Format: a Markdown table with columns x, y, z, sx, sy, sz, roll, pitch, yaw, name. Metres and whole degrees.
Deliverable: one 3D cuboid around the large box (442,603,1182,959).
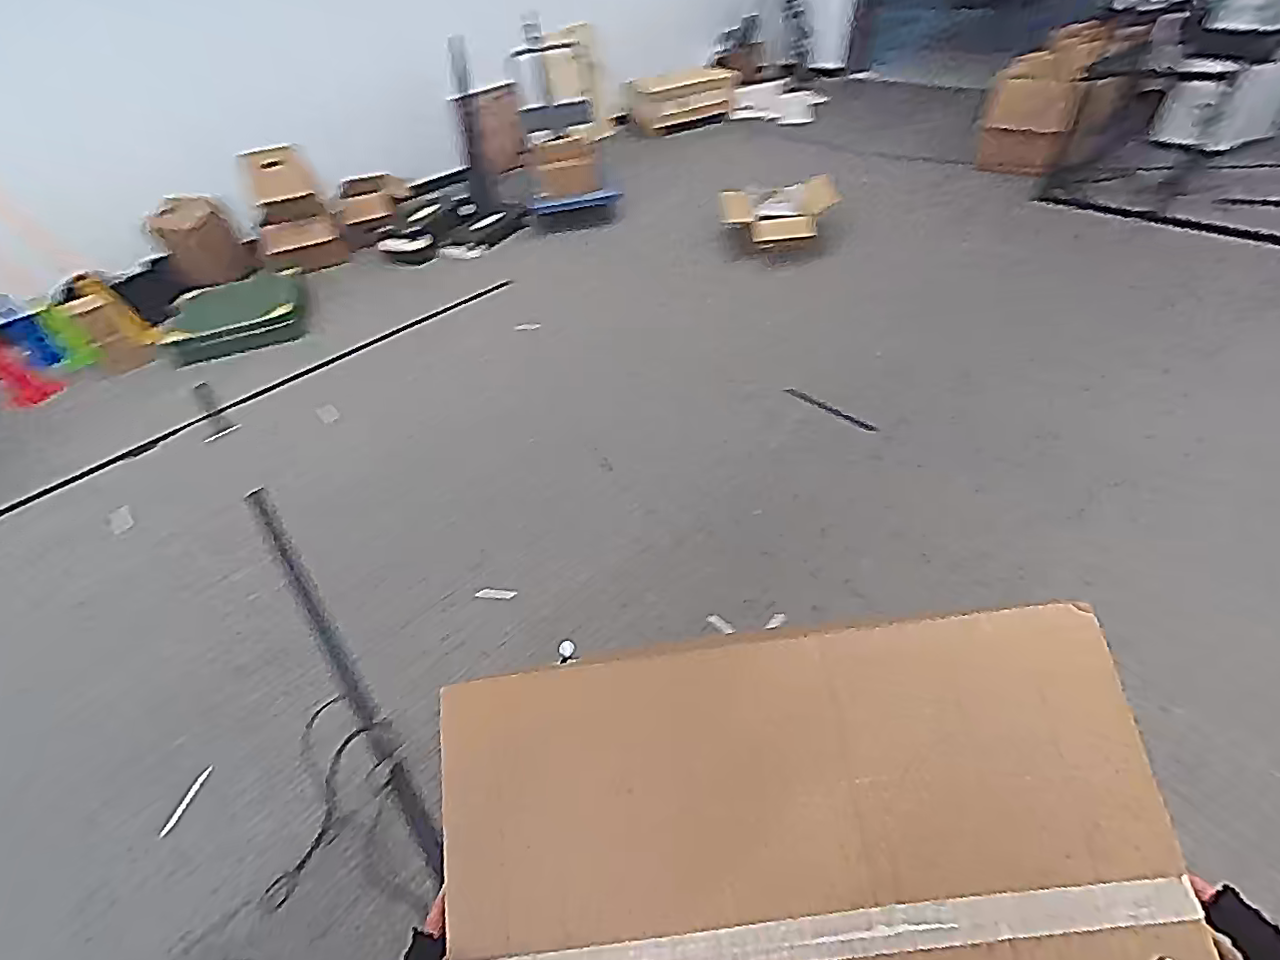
| x | y | z | sx | sy | sz | roll | pitch | yaw | name |
| --- | --- | --- | --- | --- | --- | --- | --- | --- | --- |
| 0.099 | 0.298 | 0.448 | 0.408 | 0.320 | 0.320 | -10 | 75 | 1 | large box |
